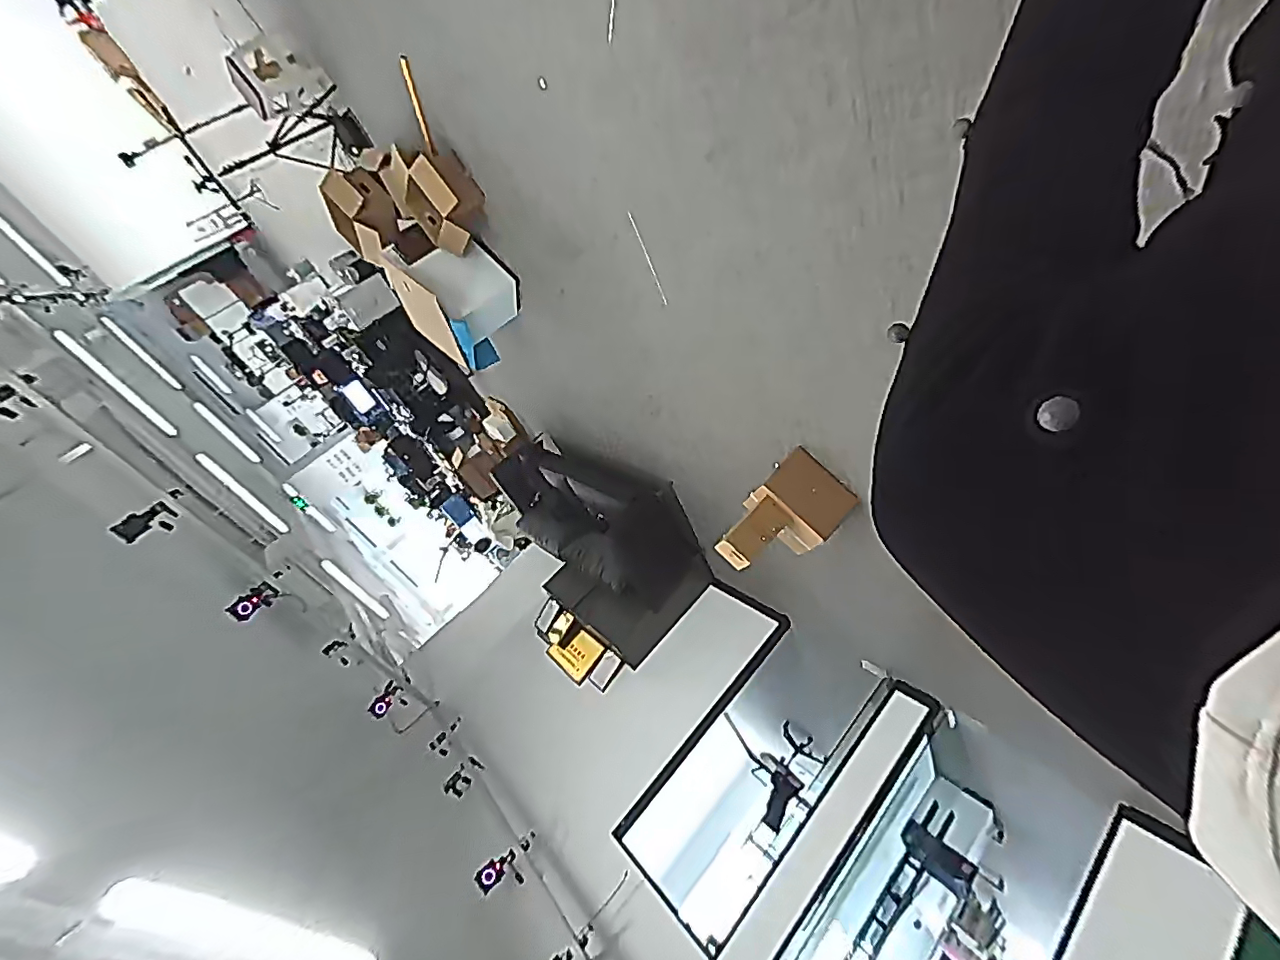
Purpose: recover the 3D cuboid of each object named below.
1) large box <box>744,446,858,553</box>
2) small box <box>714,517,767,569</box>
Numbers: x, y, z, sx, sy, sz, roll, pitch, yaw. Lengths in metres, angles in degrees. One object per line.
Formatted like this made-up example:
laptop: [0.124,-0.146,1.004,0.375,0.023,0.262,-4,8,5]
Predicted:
large box: [0.816,0.100,2.777,0.408,0.320,0.320,43,161,8]
small box: [0.490,0.301,2.612,0.168,0.176,0.179,44,160,7]
